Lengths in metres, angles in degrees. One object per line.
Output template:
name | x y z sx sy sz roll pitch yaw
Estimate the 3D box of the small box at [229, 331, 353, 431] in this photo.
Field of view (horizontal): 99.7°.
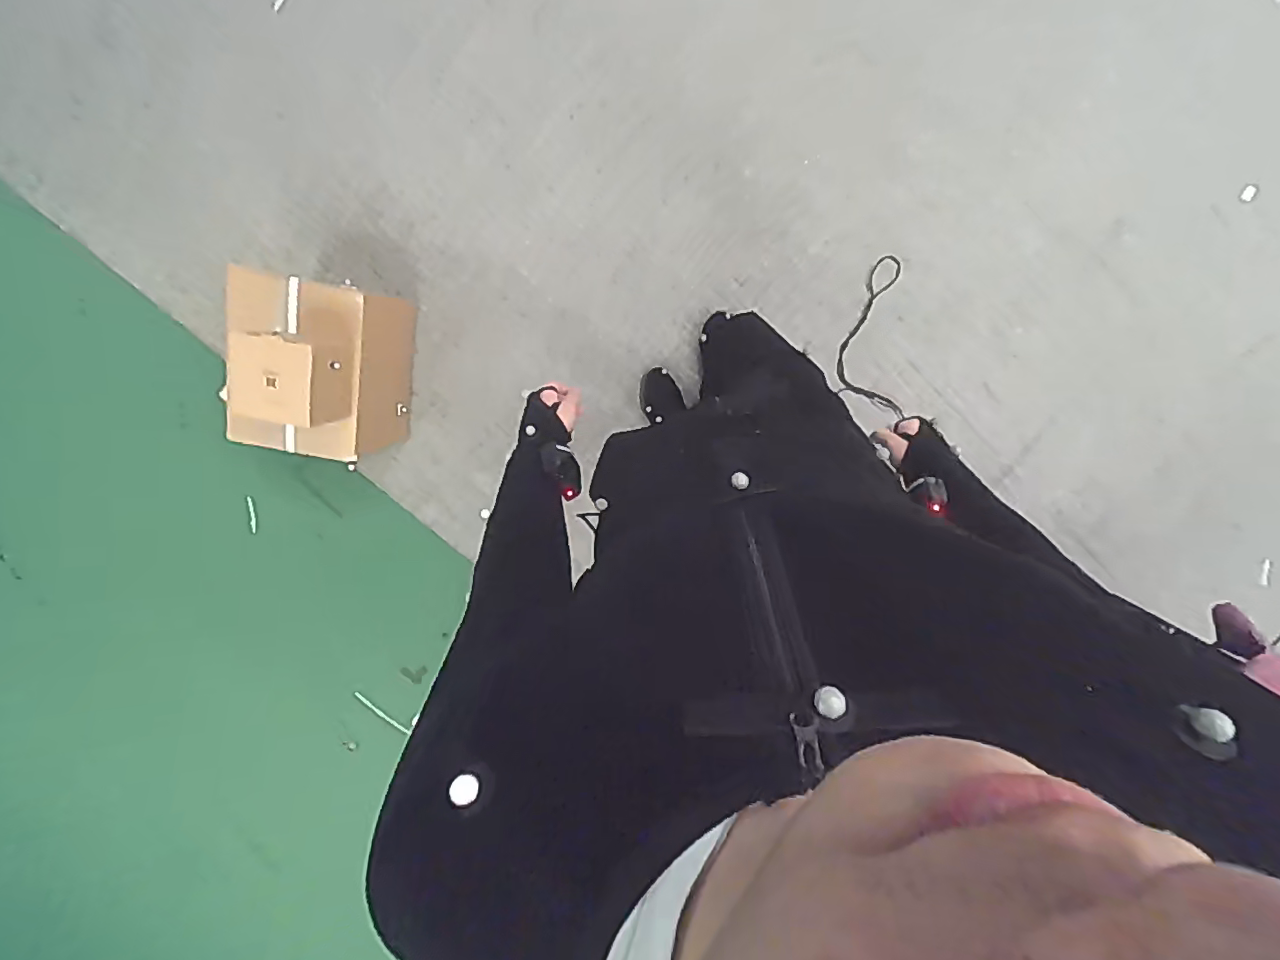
small box | -0.748 -0.219 1.174 0.168 0.176 0.179 10 105 -3
